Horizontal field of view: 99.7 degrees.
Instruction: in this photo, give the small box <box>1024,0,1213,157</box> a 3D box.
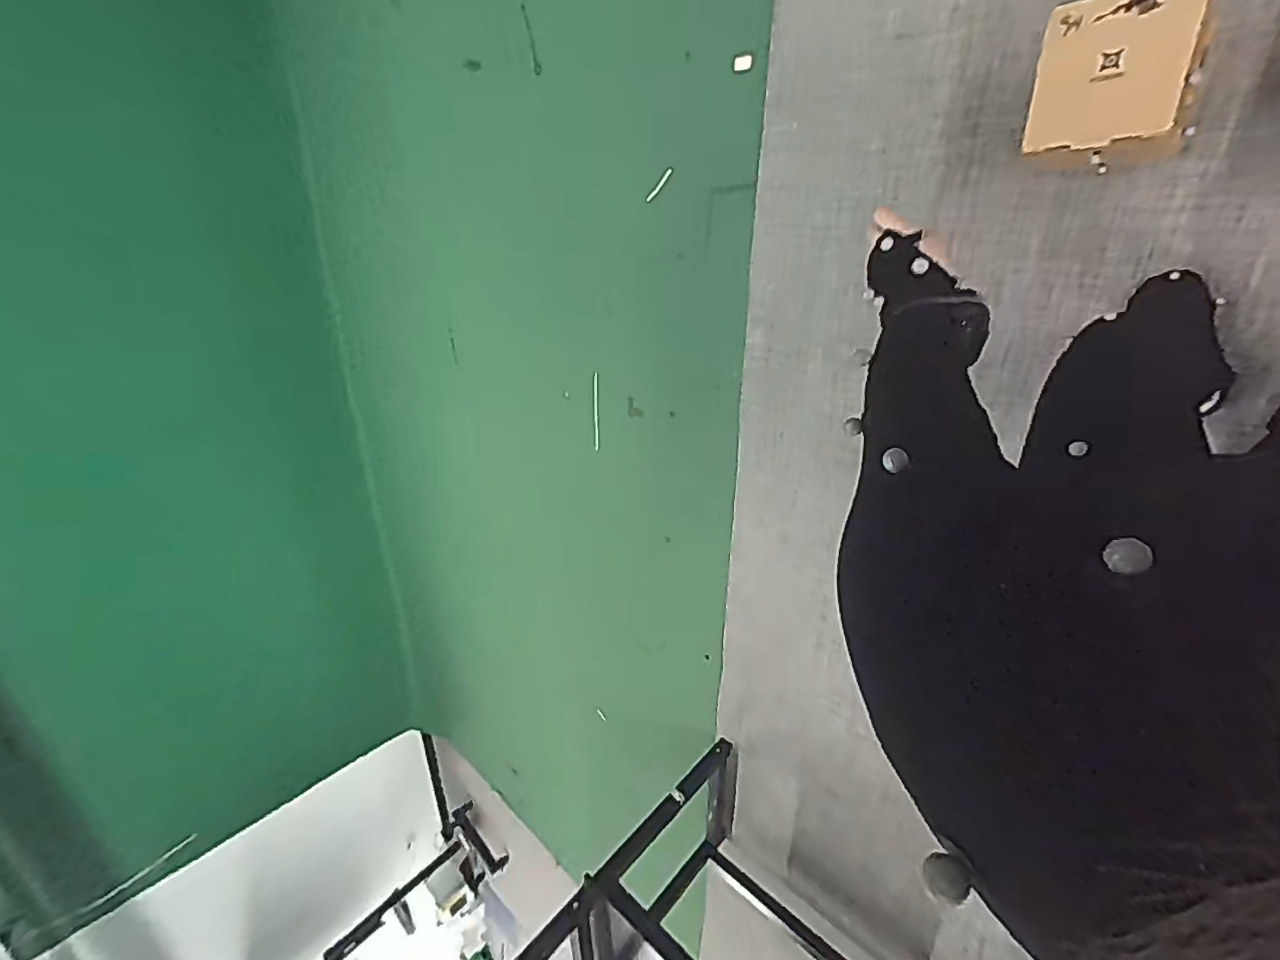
[{"bbox_3d":[0.682,-0.575,0.775,0.168,0.176,0.179,17,119,40],"label":"small box"}]
